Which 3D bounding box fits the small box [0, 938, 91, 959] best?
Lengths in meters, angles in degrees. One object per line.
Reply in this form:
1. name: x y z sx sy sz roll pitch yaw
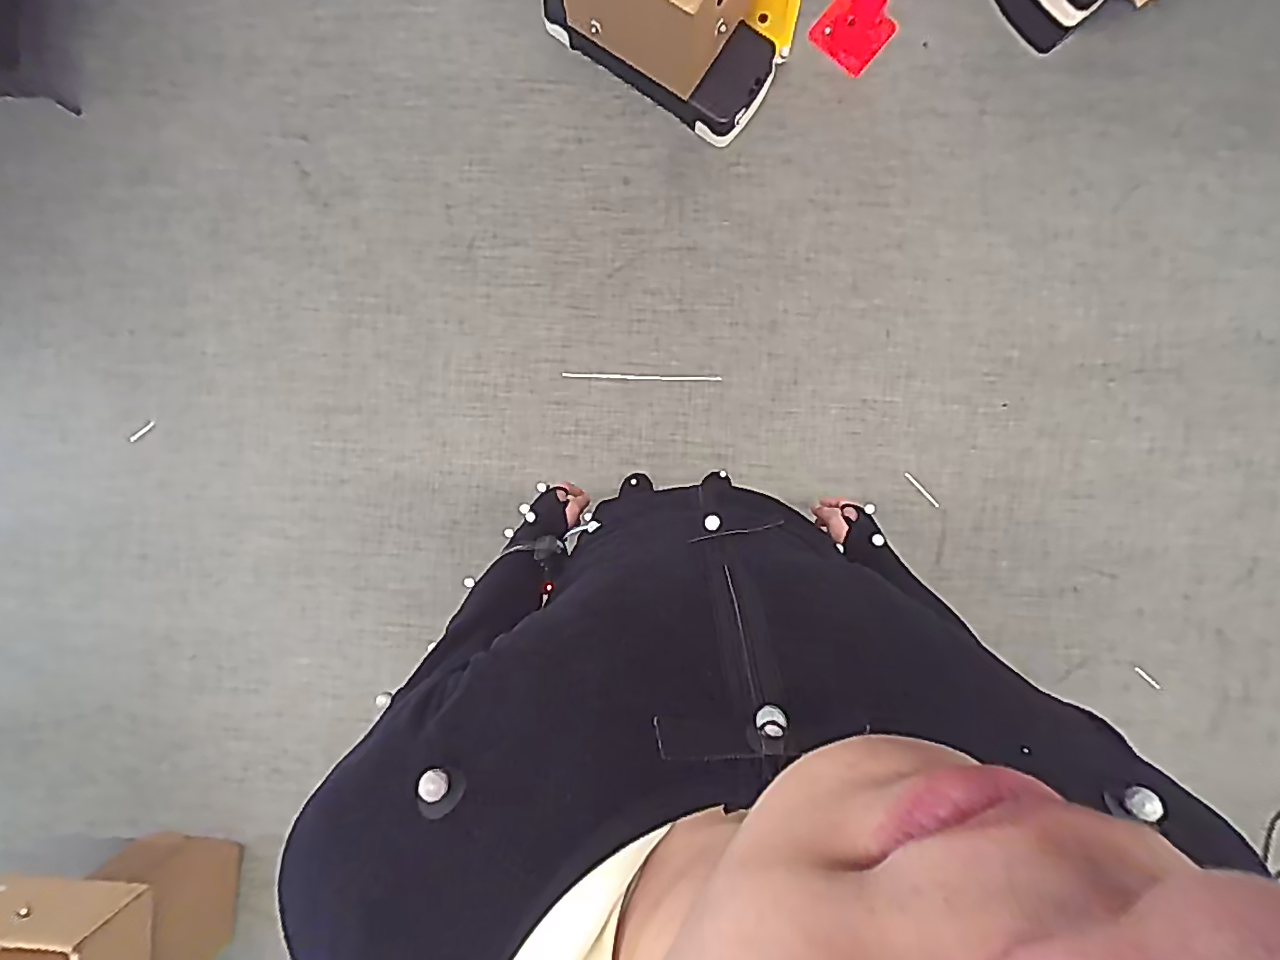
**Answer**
1. small box: -1.396 1.171 1.202 0.179 0.176 0.168 4 90 1
